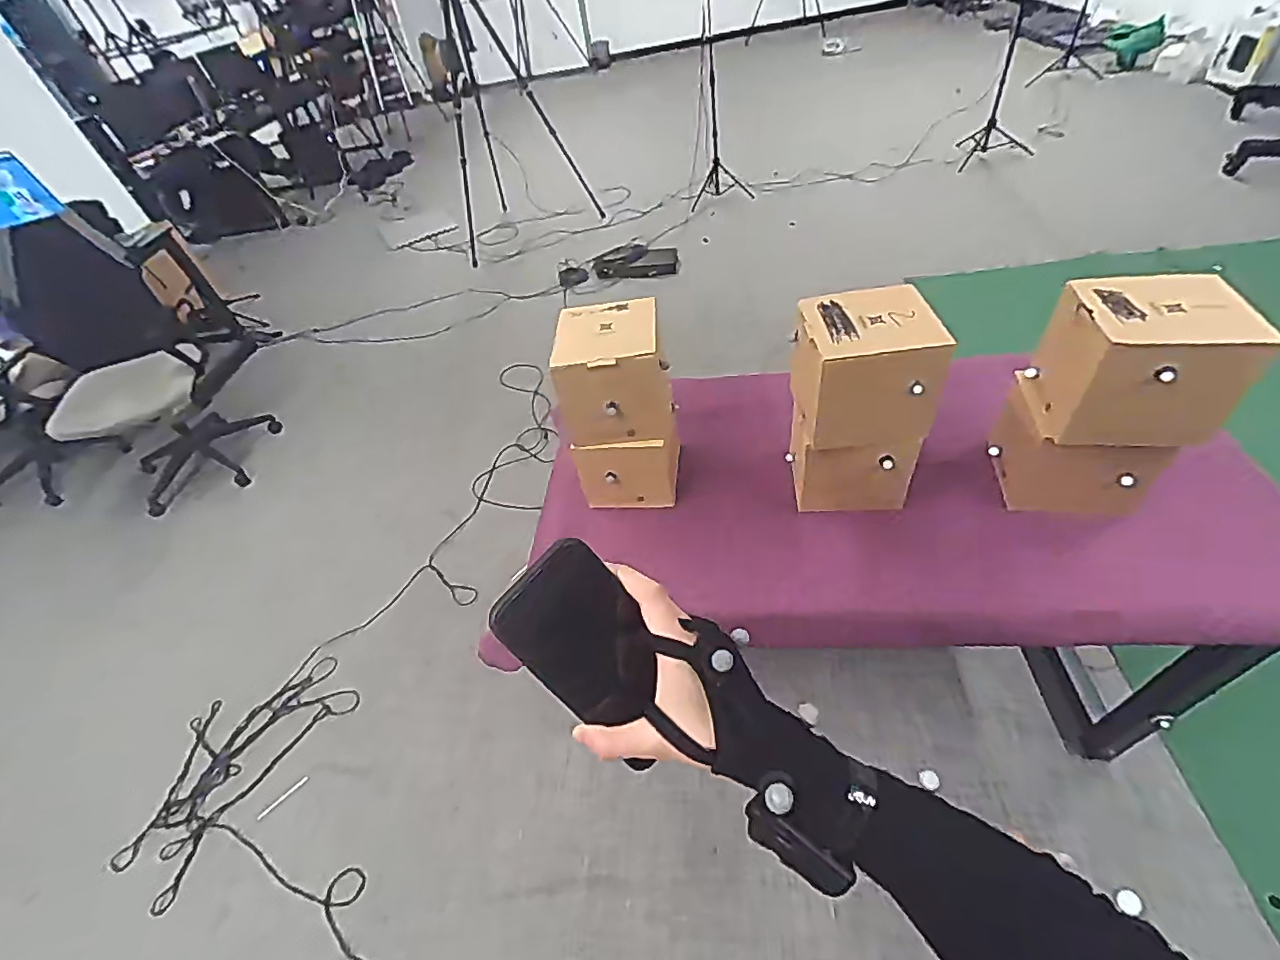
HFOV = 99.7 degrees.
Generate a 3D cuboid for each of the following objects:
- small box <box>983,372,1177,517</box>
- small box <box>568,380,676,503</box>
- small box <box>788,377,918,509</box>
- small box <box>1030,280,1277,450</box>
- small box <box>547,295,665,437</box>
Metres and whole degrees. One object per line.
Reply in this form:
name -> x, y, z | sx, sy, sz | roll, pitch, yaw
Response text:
small box -> 0.691, -0.057, 0.876 | 0.179, 0.176, 0.168 | 4, 48, 15
small box -> -0.023, -0.068, 1.032 | 0.168, 0.176, 0.179 | -1, 47, 11
small box -> 0.358, -0.061, 0.946 | 0.179, 0.176, 0.168 | -1, 47, 11
small box -> 0.674, -0.156, 0.746 | 0.179, 0.176, 0.168 | 4, 48, 14
small box -> -0.047, -0.186, 0.919 | 0.168, 0.176, 0.179 | -4, 48, 7
